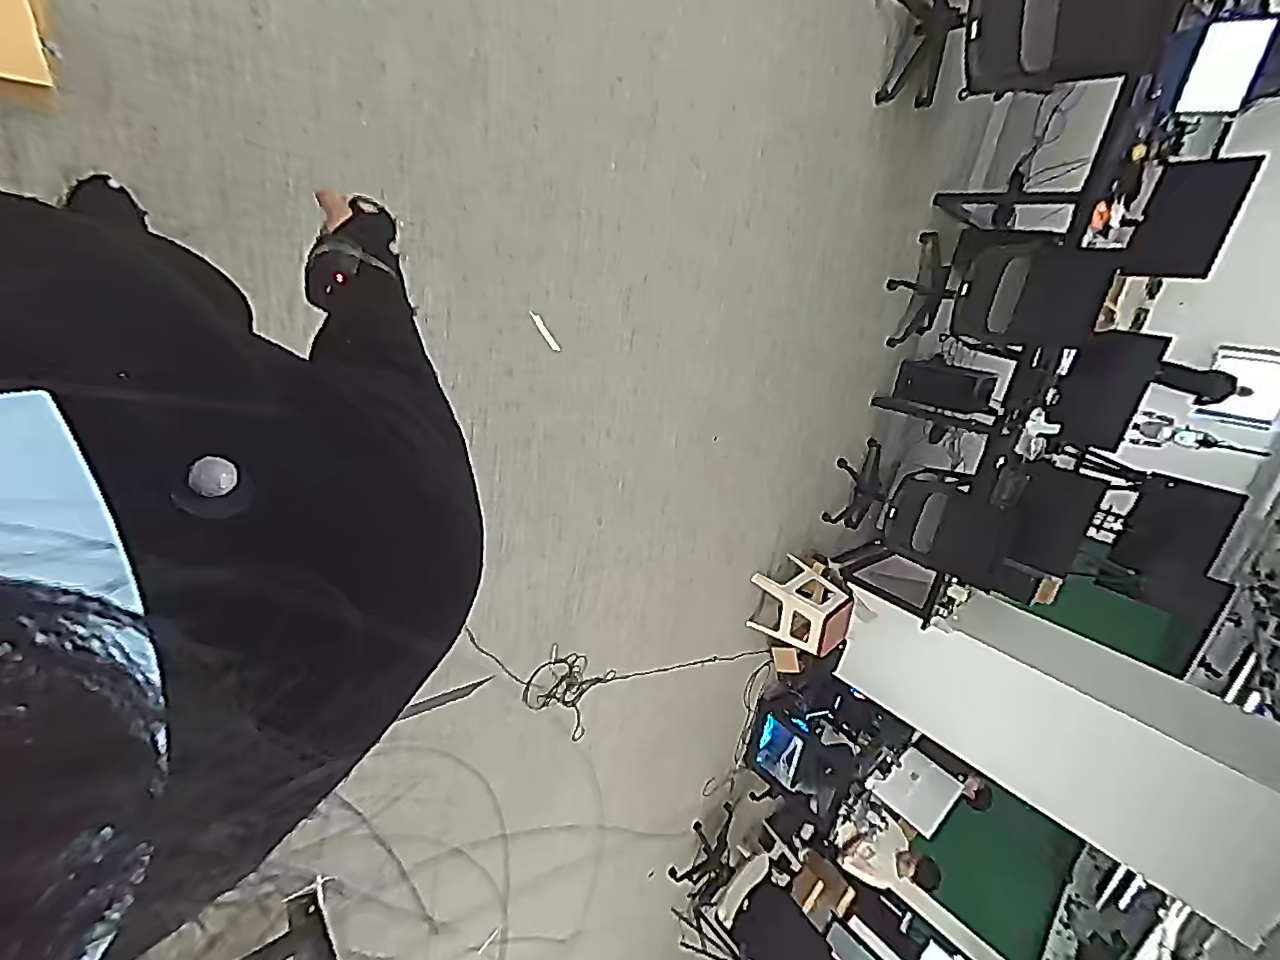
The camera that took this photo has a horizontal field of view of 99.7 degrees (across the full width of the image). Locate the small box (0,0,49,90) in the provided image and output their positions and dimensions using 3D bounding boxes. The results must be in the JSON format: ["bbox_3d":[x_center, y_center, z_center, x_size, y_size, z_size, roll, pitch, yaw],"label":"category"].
[{"bbox_3d":[-0.892,-0.615,0.682,0.179,0.176,0.168,-13,120,-39],"label":"small box"}]

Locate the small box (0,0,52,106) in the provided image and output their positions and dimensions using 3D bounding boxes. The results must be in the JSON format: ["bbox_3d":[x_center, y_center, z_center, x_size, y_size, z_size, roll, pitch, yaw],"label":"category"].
[{"bbox_3d":[-0.994,-0.681,0.792,0.168,0.176,0.179,-4,112,-44],"label":"small box"}]
